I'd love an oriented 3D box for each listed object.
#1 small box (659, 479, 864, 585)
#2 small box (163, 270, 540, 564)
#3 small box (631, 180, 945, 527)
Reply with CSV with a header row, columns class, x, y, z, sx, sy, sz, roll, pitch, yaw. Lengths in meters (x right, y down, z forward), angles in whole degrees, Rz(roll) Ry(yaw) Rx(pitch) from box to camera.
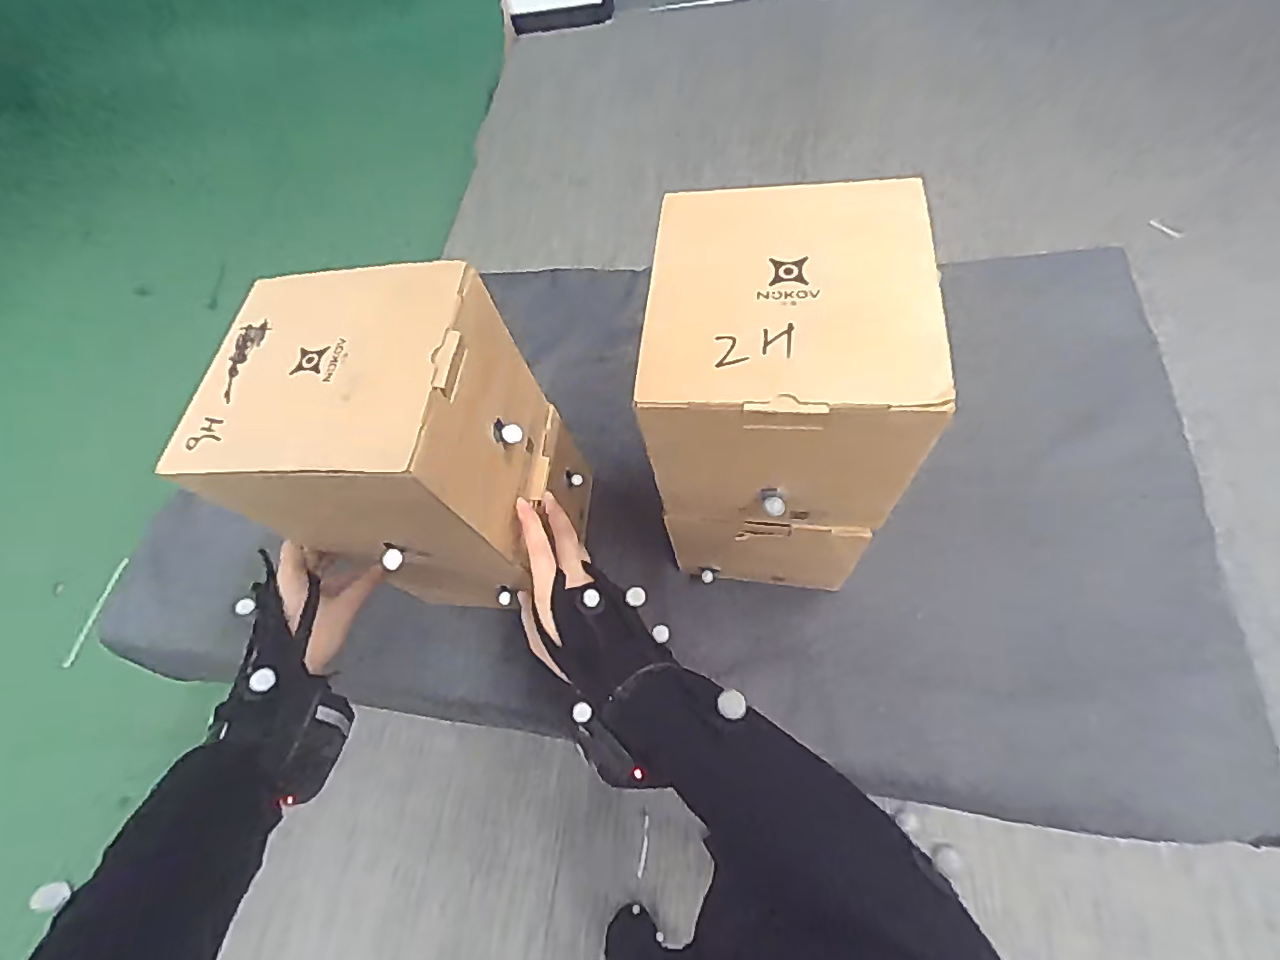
class,x,y,z,sx,sy,sz,roll,pitch,yaw
small box,0.121,-0.006,0.537,0.168,0.176,0.179,5,64,12
small box,-0.193,-0.038,0.425,0.179,0.176,0.168,0,63,10
small box,0.097,-0.081,0.392,0.168,0.176,0.179,2,65,12
